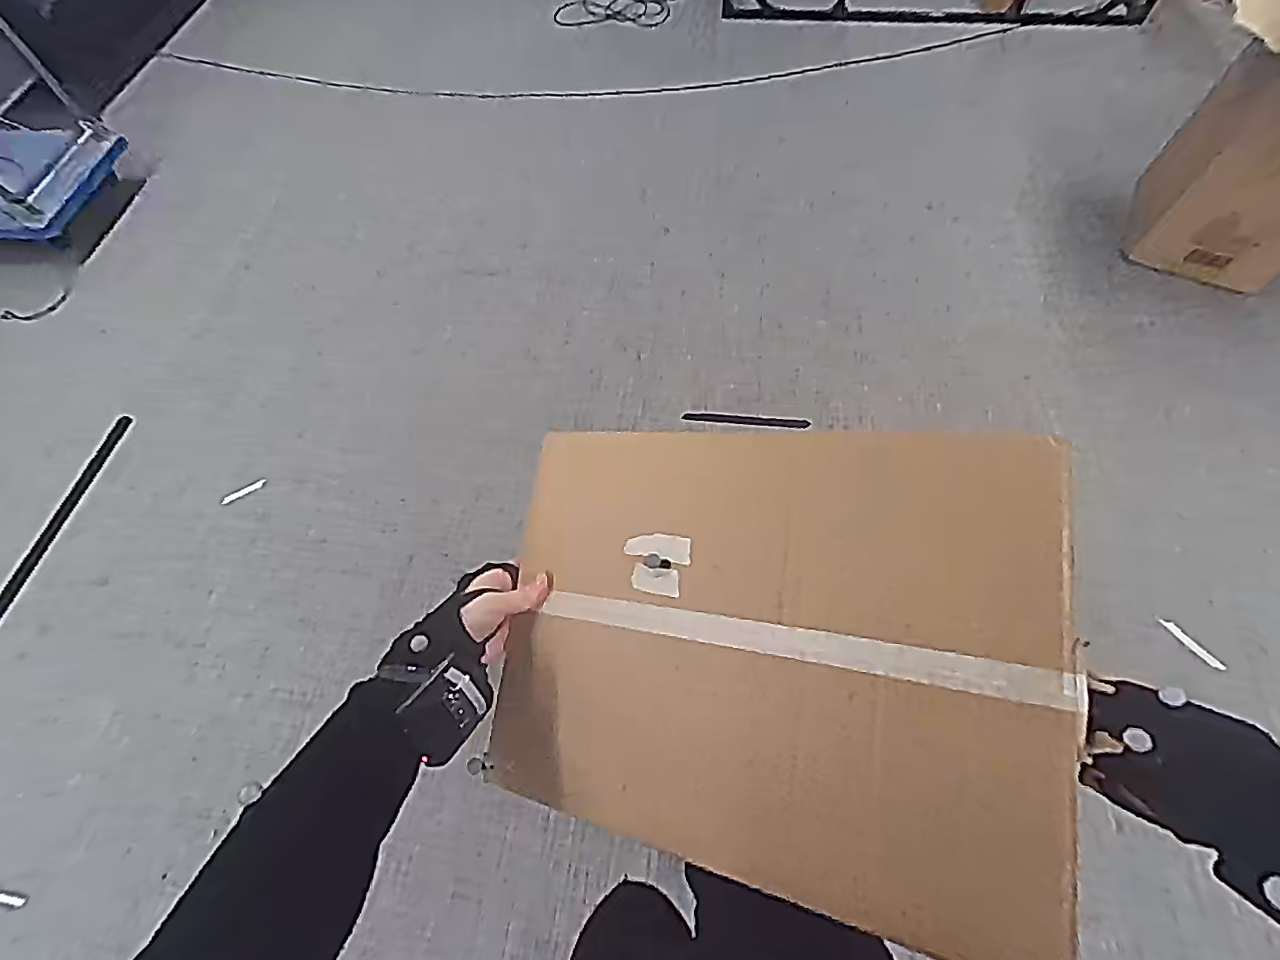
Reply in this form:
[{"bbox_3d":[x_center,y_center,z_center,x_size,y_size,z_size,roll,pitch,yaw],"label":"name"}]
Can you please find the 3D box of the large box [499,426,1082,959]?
[{"bbox_3d":[0.140,0.144,0.531,0.408,0.320,0.320,3,76,27],"label":"large box"}]
